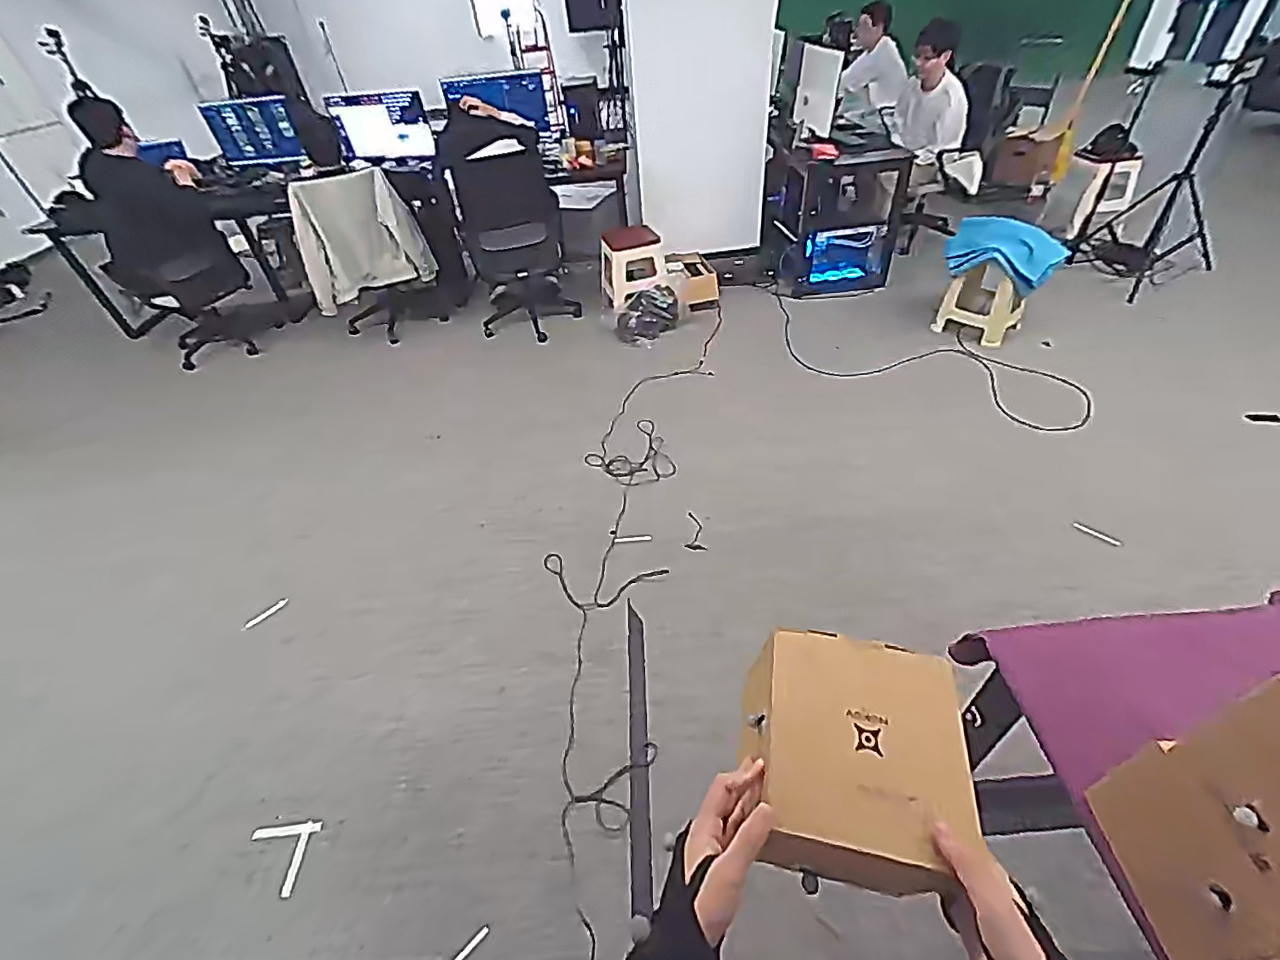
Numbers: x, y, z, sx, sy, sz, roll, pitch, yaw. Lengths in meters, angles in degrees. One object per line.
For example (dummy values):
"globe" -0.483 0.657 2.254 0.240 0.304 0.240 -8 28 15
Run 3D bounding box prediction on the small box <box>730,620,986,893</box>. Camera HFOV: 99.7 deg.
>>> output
"small box" 0.186 0.264 0.515 0.168 0.176 0.179 11 50 6

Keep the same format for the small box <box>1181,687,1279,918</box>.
"small box" 0.622 0.269 0.436 0.179 0.176 0.168 -4 43 5

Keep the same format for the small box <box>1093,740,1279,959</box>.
"small box" 0.627 0.387 0.550 0.168 0.176 0.179 -2 42 5
